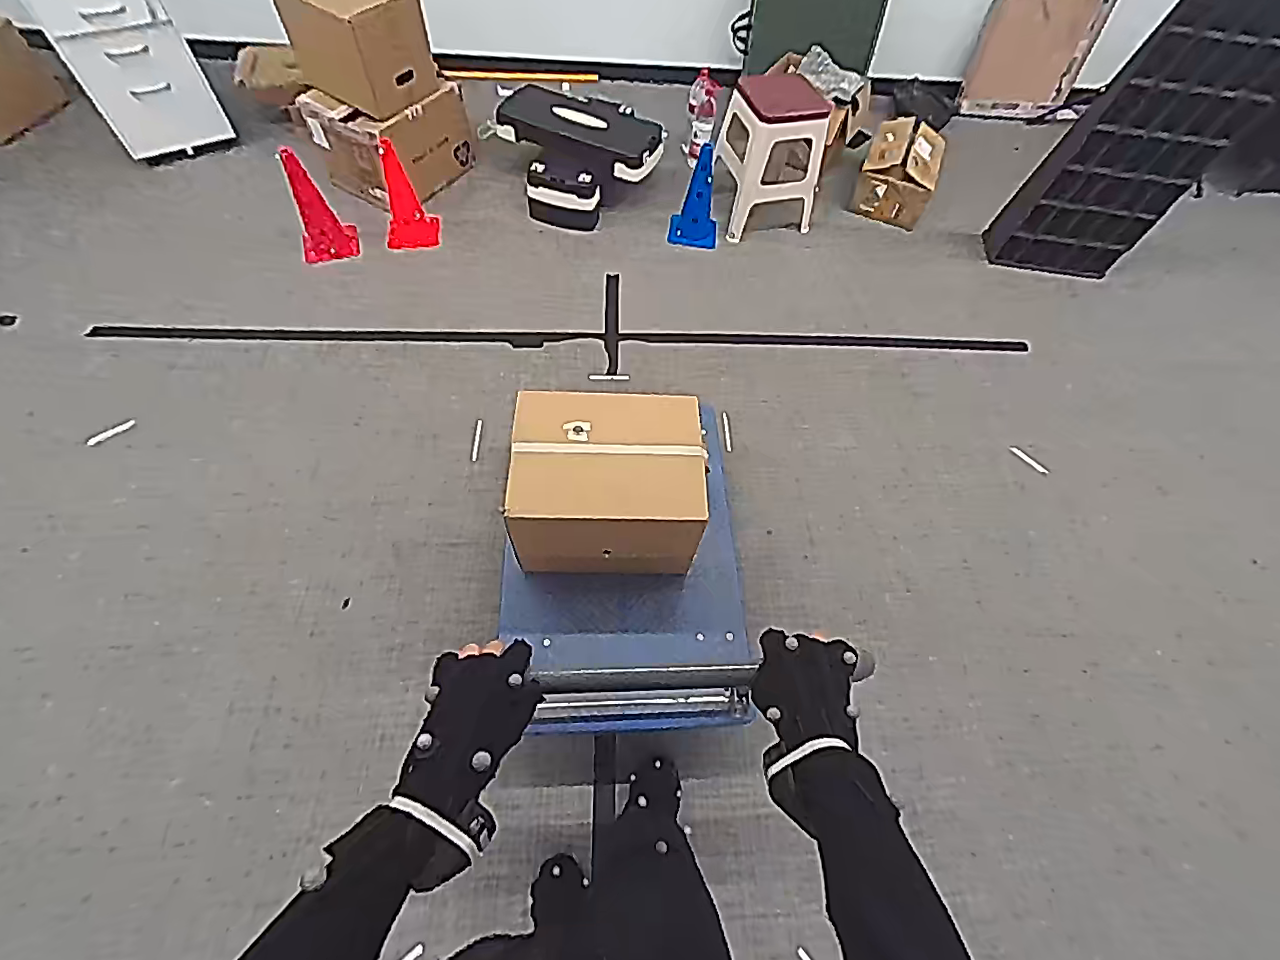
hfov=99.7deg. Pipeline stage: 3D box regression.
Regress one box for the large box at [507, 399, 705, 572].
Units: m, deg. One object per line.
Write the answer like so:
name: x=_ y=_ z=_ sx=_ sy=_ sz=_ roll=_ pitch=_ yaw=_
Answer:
large box: x=-0.075 y=0.024 z=1.276 sx=0.408 sy=0.320 sz=0.320 roll=1 pitch=60 yaw=-3
